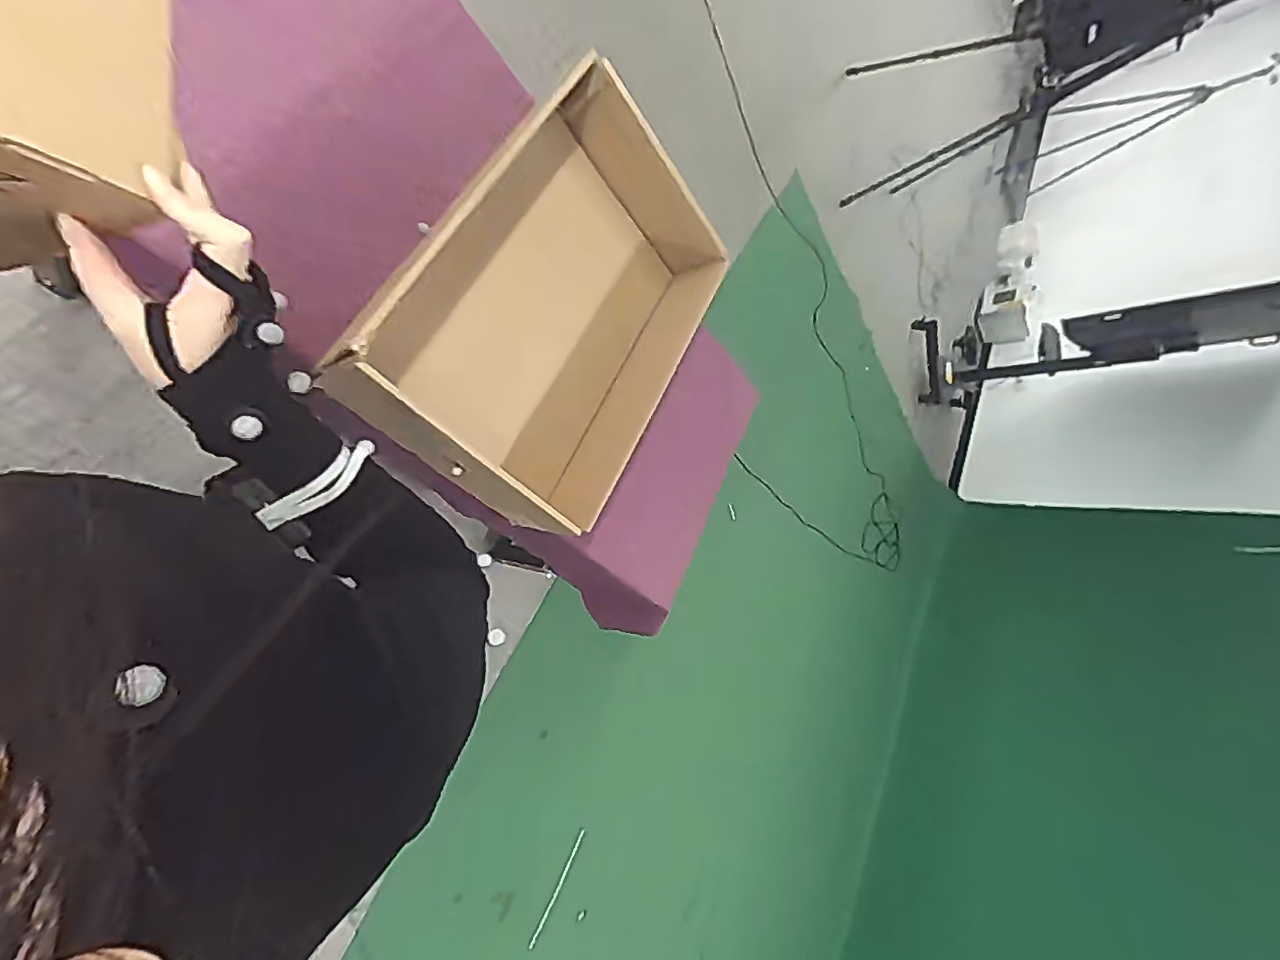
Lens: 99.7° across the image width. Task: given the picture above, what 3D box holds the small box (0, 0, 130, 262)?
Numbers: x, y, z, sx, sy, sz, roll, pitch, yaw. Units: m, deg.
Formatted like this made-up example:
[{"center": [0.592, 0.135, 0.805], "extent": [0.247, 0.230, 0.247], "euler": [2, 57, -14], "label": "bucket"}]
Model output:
[{"center": [-0.368, -0.218, 0.233], "extent": [0.168, 0.179, 0.176], "euler": [-2, 89, -68], "label": "small box"}]
